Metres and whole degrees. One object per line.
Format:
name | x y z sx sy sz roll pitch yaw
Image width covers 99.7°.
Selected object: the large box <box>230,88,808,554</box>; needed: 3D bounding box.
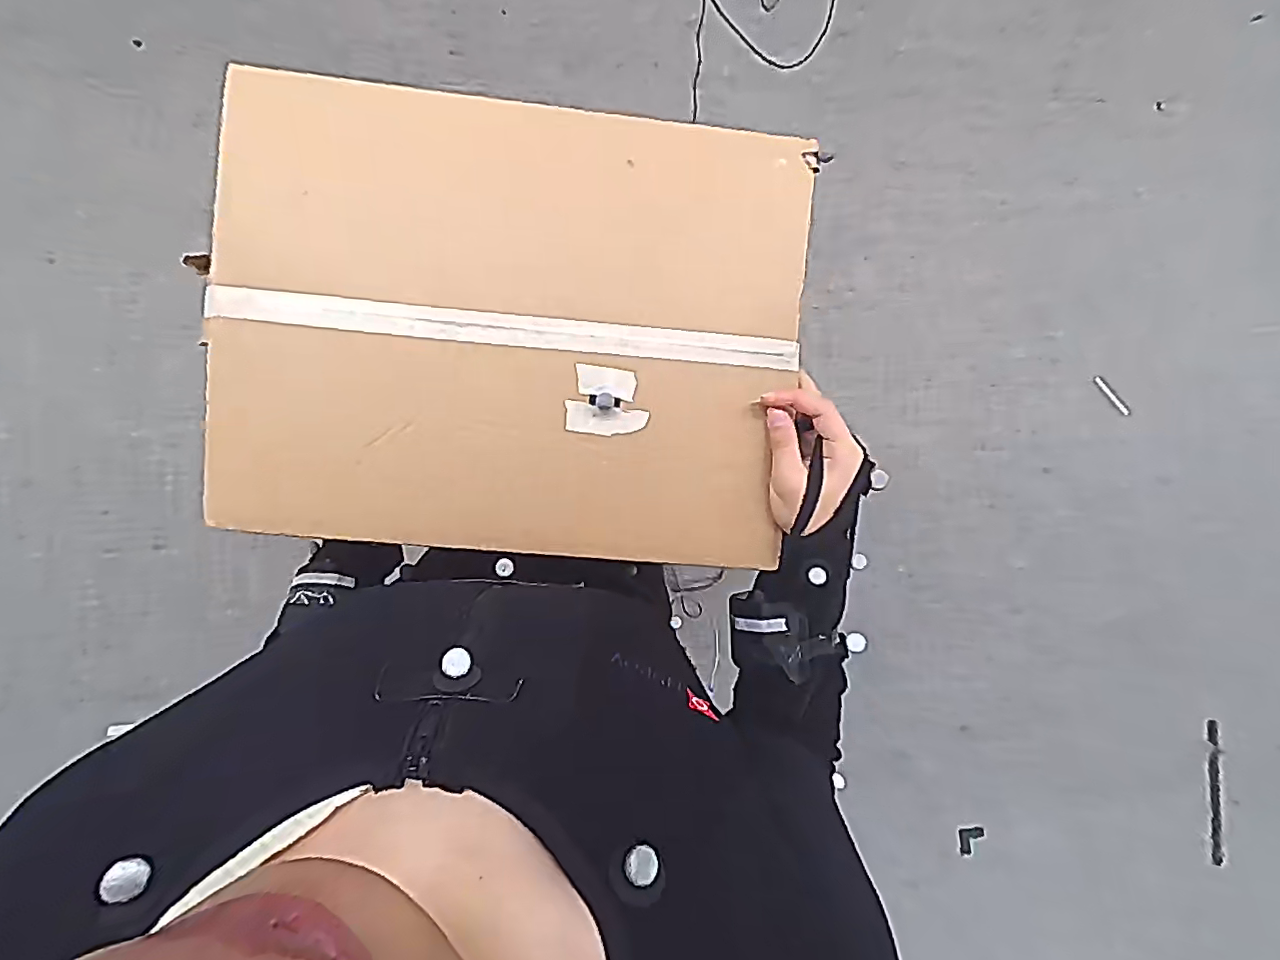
large box | -0.094 -0.112 0.538 0.408 0.320 0.320 4 93 -5
